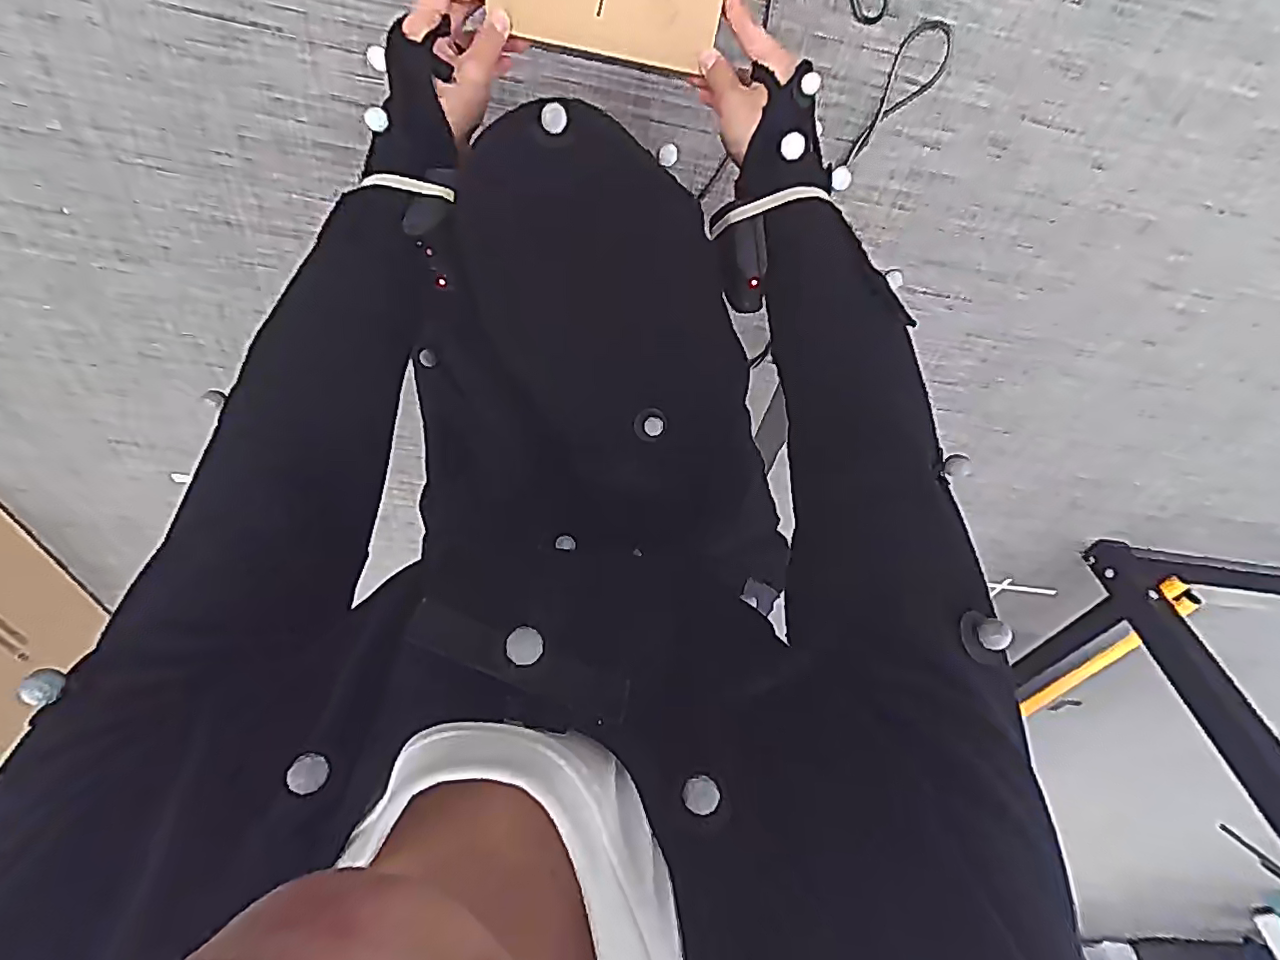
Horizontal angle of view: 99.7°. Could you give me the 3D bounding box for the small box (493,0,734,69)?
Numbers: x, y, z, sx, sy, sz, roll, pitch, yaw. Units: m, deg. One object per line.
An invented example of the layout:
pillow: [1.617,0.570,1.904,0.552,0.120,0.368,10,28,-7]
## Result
small box: [-0.006,-0.429,0.385,0.168,0.176,0.179,8,135,-6]
